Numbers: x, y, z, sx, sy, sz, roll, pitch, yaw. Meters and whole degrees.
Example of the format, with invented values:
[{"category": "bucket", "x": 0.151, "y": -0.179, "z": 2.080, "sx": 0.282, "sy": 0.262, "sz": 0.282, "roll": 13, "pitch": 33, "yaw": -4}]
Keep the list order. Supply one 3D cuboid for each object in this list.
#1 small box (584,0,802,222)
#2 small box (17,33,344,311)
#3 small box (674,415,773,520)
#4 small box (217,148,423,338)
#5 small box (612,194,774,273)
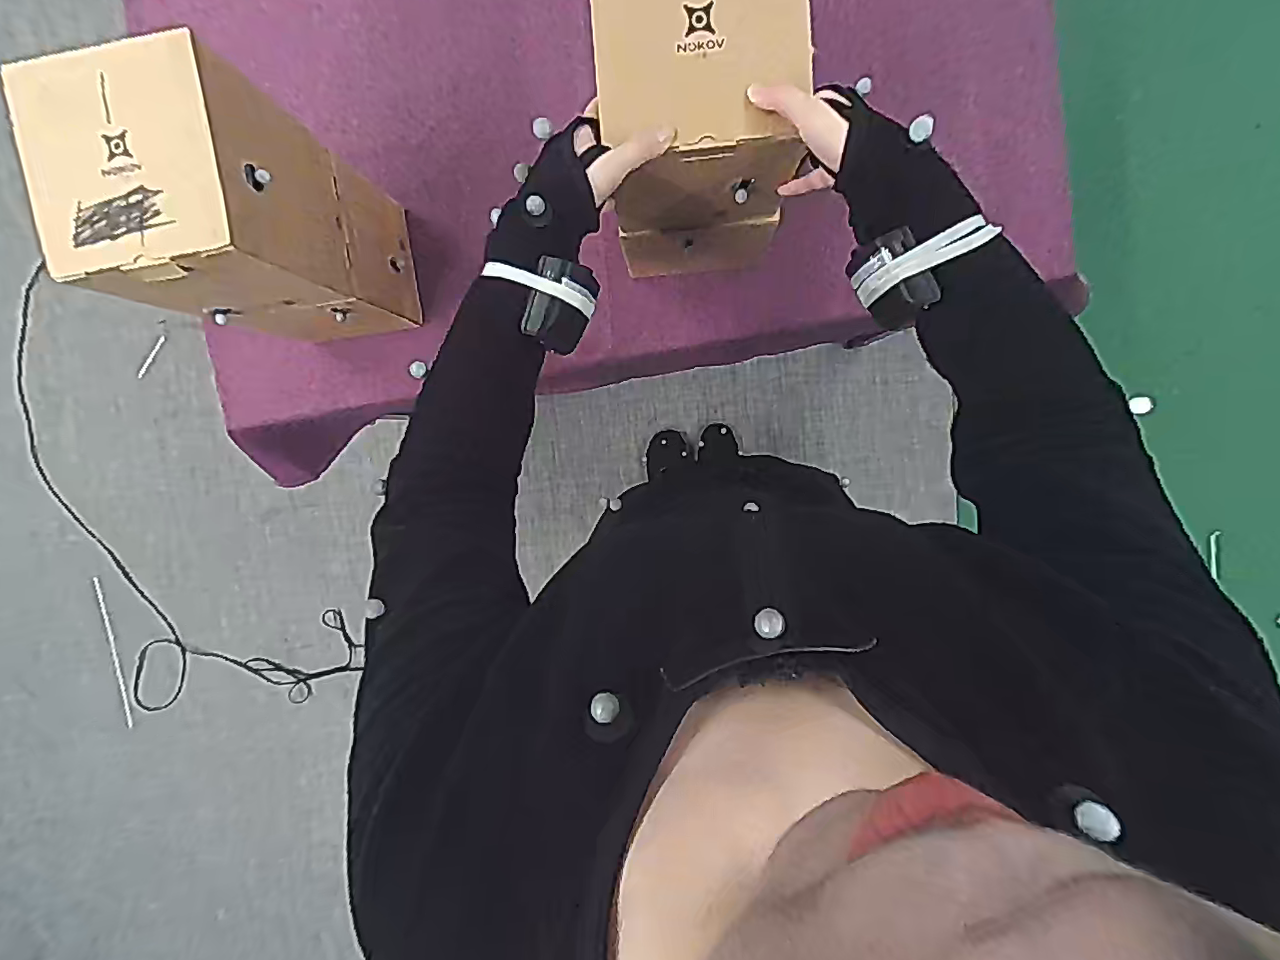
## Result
[{"category": "small box", "x": 0.046, "y": -0.352, "z": 0.491, "sx": 0.168, "sy": 0.176, "sz": 0.179, "roll": -3, "pitch": 95, "yaw": 4}, {"category": "small box", "x": -0.424, "y": -0.275, "z": 0.532, "sx": 0.168, "sy": 0.176, "sz": 0.179, "roll": -8, "pitch": 94, "yaw": 4}, {"category": "small box", "x": 0.208, "y": -0.030, "z": 1.399, "sx": 0.179, "sy": 0.176, "sz": 0.168, "roll": -31, "pitch": 63, "yaw": -26}, {"category": "small box", "x": -0.410, "y": -0.287, "z": 0.696, "sx": 0.179, "sy": 0.176, "sz": 0.168, "roll": -8, "pitch": 95, "yaw": 4}, {"category": "small box", "x": 0.060, "y": -0.360, "z": 0.653, "sx": 0.179, "sy": 0.176, "sz": 0.168, "roll": -3, "pitch": 96, "yaw": 5}]
